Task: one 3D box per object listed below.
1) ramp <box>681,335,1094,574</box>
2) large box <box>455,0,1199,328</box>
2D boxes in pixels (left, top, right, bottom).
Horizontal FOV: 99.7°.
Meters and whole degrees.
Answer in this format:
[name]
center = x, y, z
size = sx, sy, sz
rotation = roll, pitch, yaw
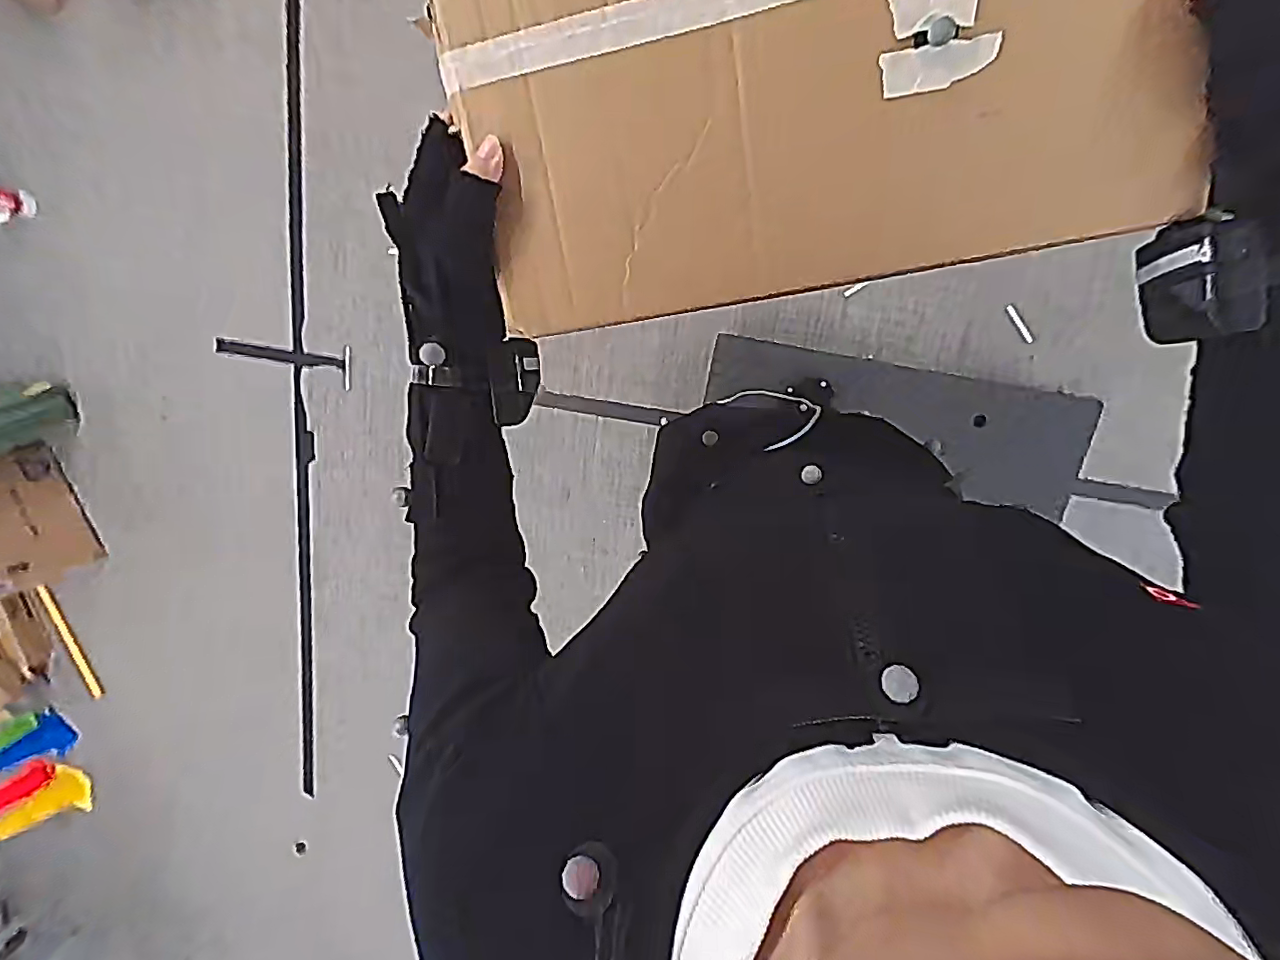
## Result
[ramp]
center = 0.639, -0.059, 1.433
size = 0.991, 0.206, 0.509
rotation = 10, 101, 10
[large box]
center = 0.106, -0.320, 0.442
size = 0.408, 0.320, 0.320
rotation = -7, 107, 9
